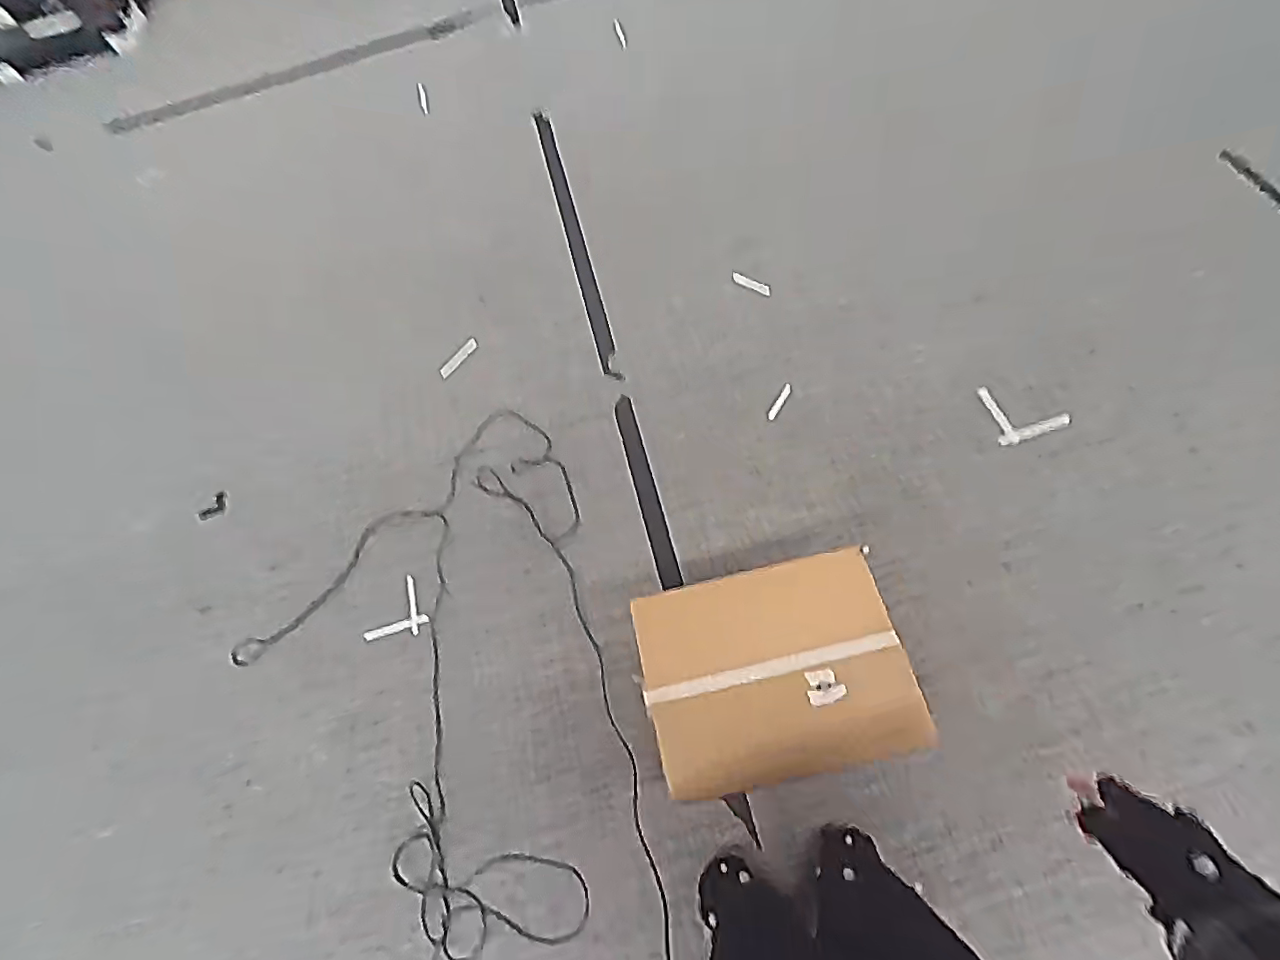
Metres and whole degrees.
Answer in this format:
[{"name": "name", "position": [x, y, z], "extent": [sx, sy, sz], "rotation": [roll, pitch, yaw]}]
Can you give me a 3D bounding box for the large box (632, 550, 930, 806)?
[{"name": "large box", "position": [0.224, 0.366, 1.000], "extent": [0.408, 0.320, 0.320], "rotation": [-14, 65, 0]}]
